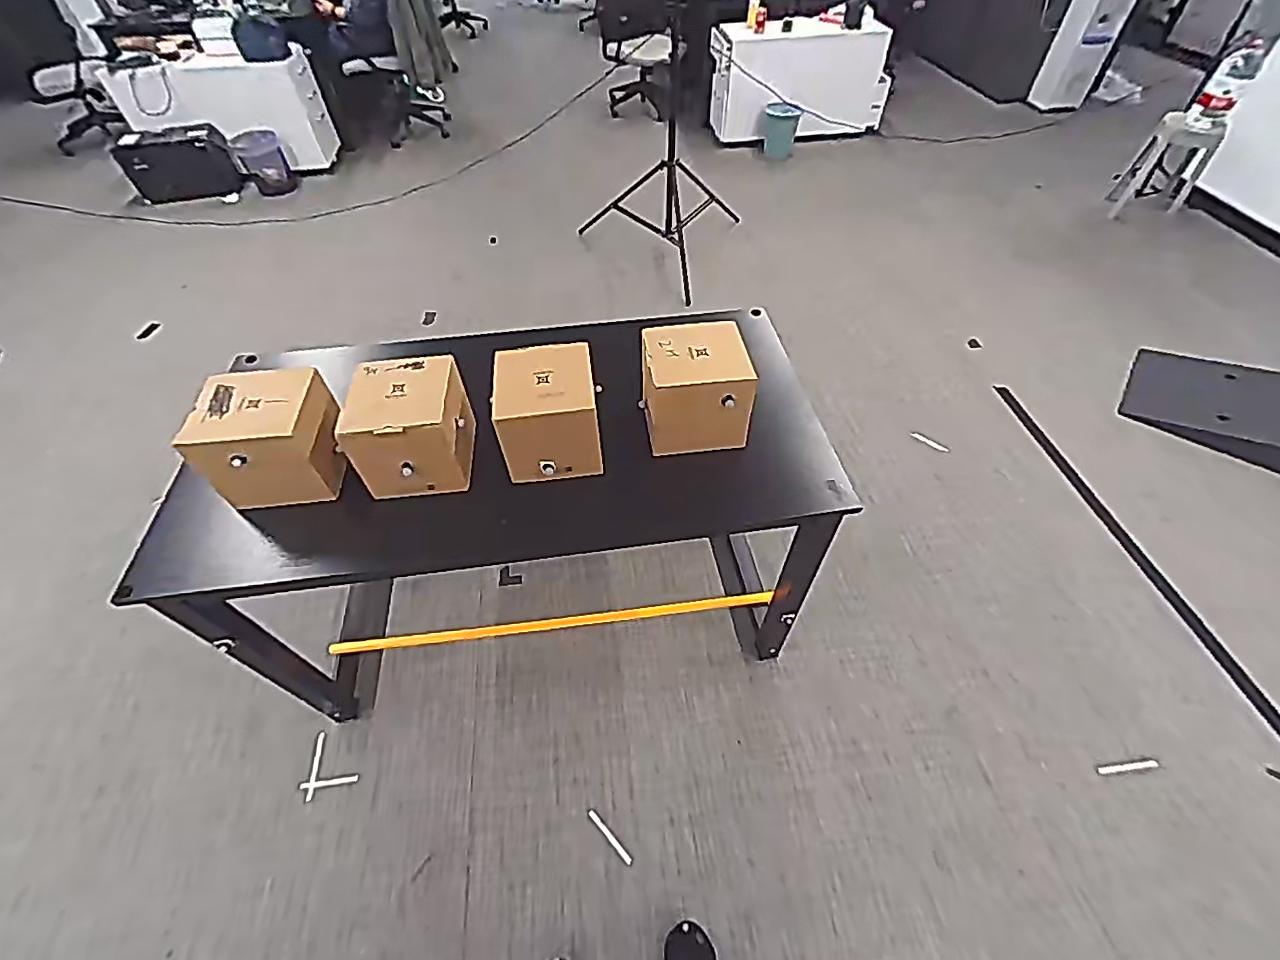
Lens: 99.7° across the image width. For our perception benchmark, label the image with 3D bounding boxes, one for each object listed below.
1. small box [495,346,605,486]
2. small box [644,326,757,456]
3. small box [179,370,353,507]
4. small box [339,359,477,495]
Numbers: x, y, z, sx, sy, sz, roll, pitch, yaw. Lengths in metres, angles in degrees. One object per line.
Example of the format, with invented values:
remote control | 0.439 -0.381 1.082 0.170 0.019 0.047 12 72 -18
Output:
small box | -0.157 -0.113 0.970 0.168 0.176 0.179 -8 52 -4
small box | 0.102 -0.162 1.001 0.179 0.176 0.168 -6 51 -3
small box | -0.624 -0.068 0.937 0.179 0.176 0.168 -6 51 -5
small box | -0.393 -0.087 0.951 0.168 0.176 0.179 -6 52 -4
